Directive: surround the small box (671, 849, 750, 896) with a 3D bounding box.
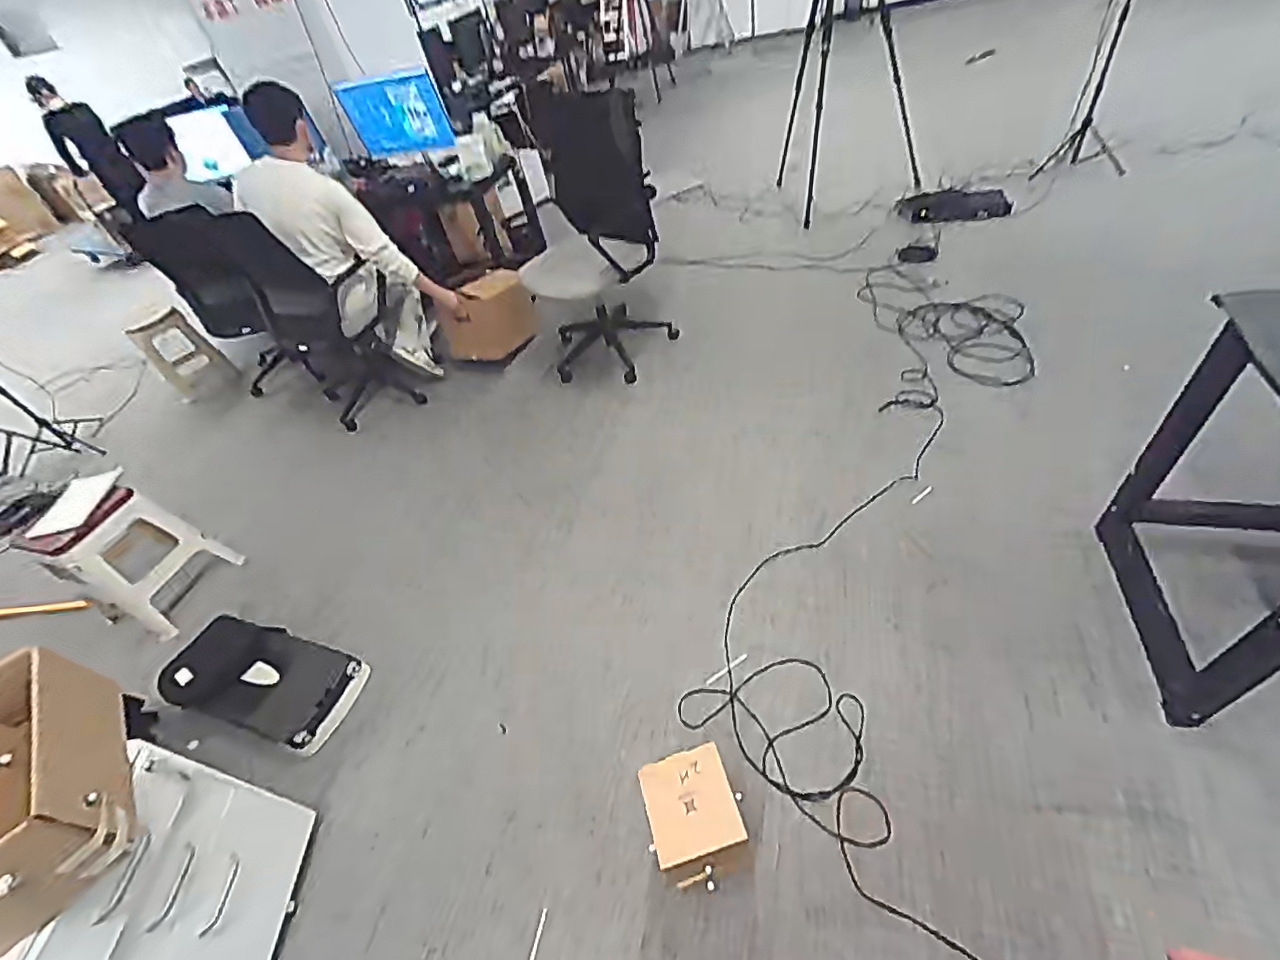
[{"bbox_3d":[0.132,0.782,1.189,0.168,0.176,0.179,-22,45,-7],"label":"small box"}]

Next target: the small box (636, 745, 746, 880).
[{"bbox_3d":[0.104,0.666,1.075,0.168,0.176,0.179,-18,45,-3],"label":"small box"}]
